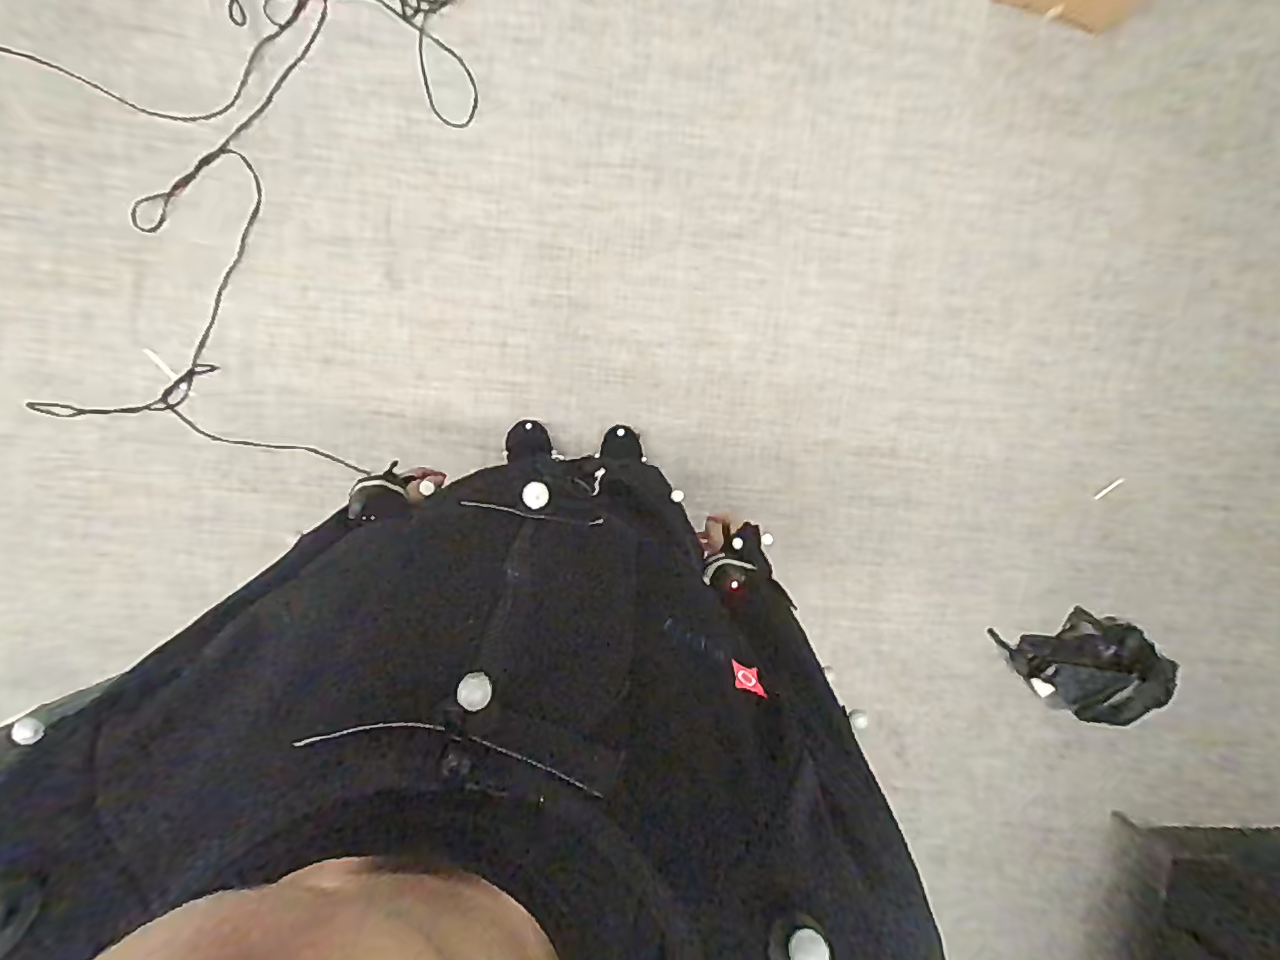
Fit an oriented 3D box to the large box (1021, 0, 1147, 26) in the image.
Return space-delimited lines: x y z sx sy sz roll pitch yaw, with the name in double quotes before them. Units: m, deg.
"large box" 1.057 -1.303 1.132 0.320 0.320 0.408 11 98 -5
